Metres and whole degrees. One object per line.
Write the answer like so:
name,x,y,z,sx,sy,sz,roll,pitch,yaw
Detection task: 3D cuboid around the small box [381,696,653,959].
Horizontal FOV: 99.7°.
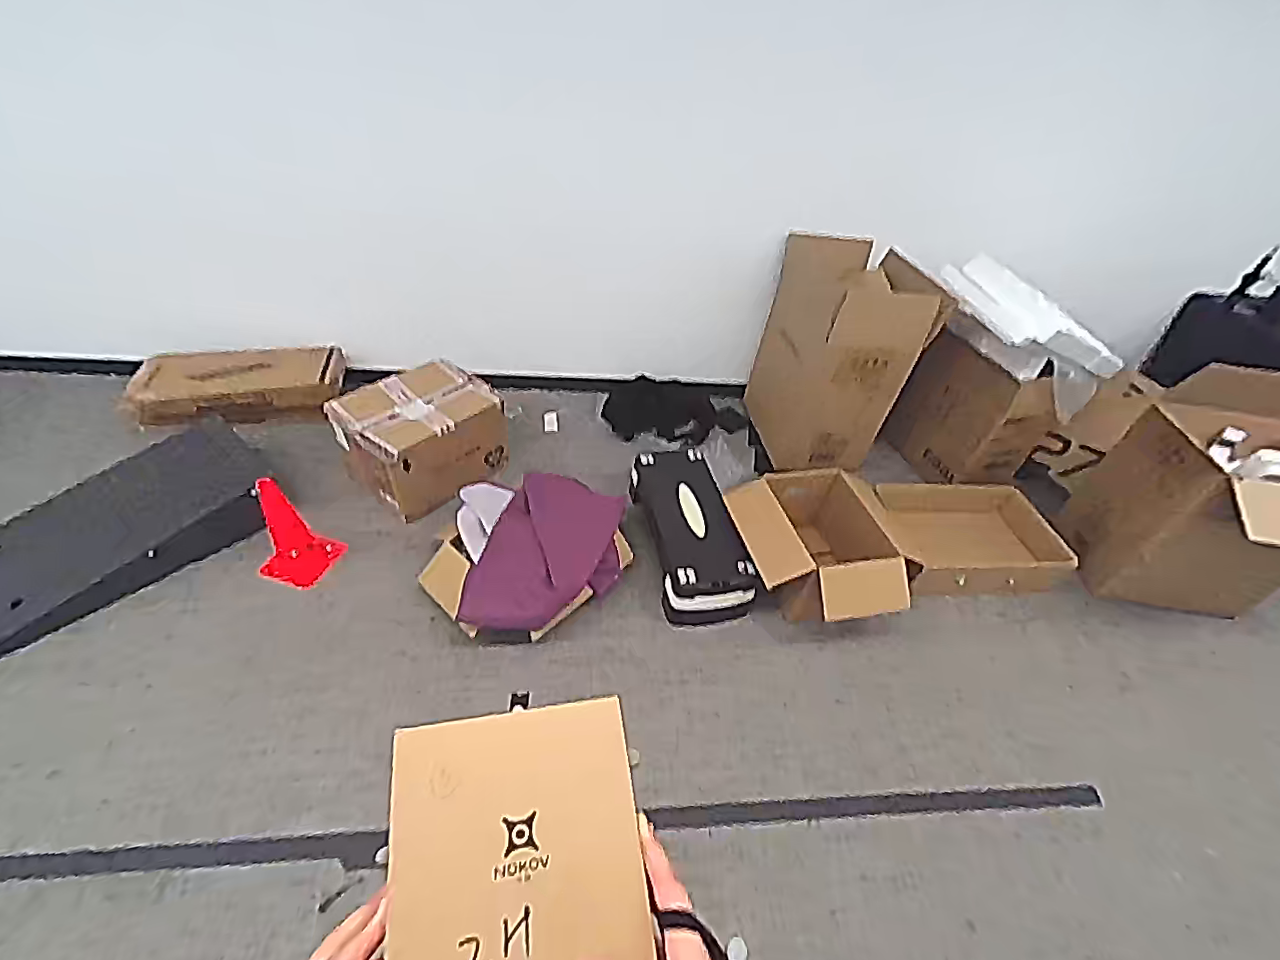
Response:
small box,-0.098,0.287,0.427,0.168,0.176,0.179,-3,60,-14
